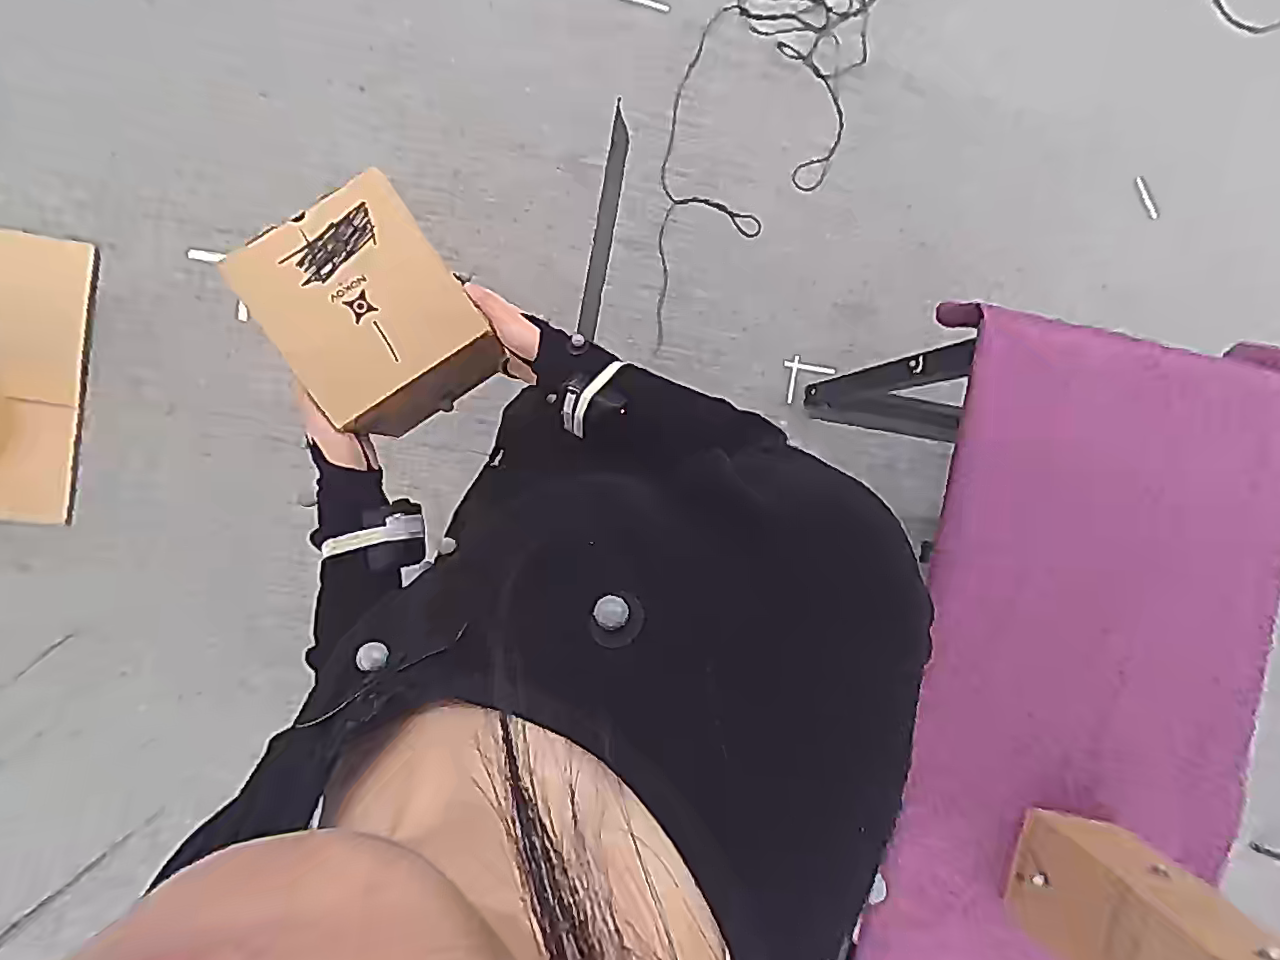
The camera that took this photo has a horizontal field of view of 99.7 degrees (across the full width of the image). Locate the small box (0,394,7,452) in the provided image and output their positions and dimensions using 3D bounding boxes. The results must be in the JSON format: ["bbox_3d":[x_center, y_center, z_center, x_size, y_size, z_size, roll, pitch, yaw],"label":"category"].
[{"bbox_3d":[-1.607,-0.130,1.220,0.179,0.176,0.168,5,92,-7],"label":"small box"}]

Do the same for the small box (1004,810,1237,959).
[{"bbox_3d":[0.700,0.628,0.805,0.179,0.176,0.168,15,90,-7],"label":"small box"}]

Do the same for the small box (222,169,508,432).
[{"bbox_3d":[-0.258,-0.163,0.558,0.168,0.176,0.179,-34,96,-4],"label":"small box"}]
